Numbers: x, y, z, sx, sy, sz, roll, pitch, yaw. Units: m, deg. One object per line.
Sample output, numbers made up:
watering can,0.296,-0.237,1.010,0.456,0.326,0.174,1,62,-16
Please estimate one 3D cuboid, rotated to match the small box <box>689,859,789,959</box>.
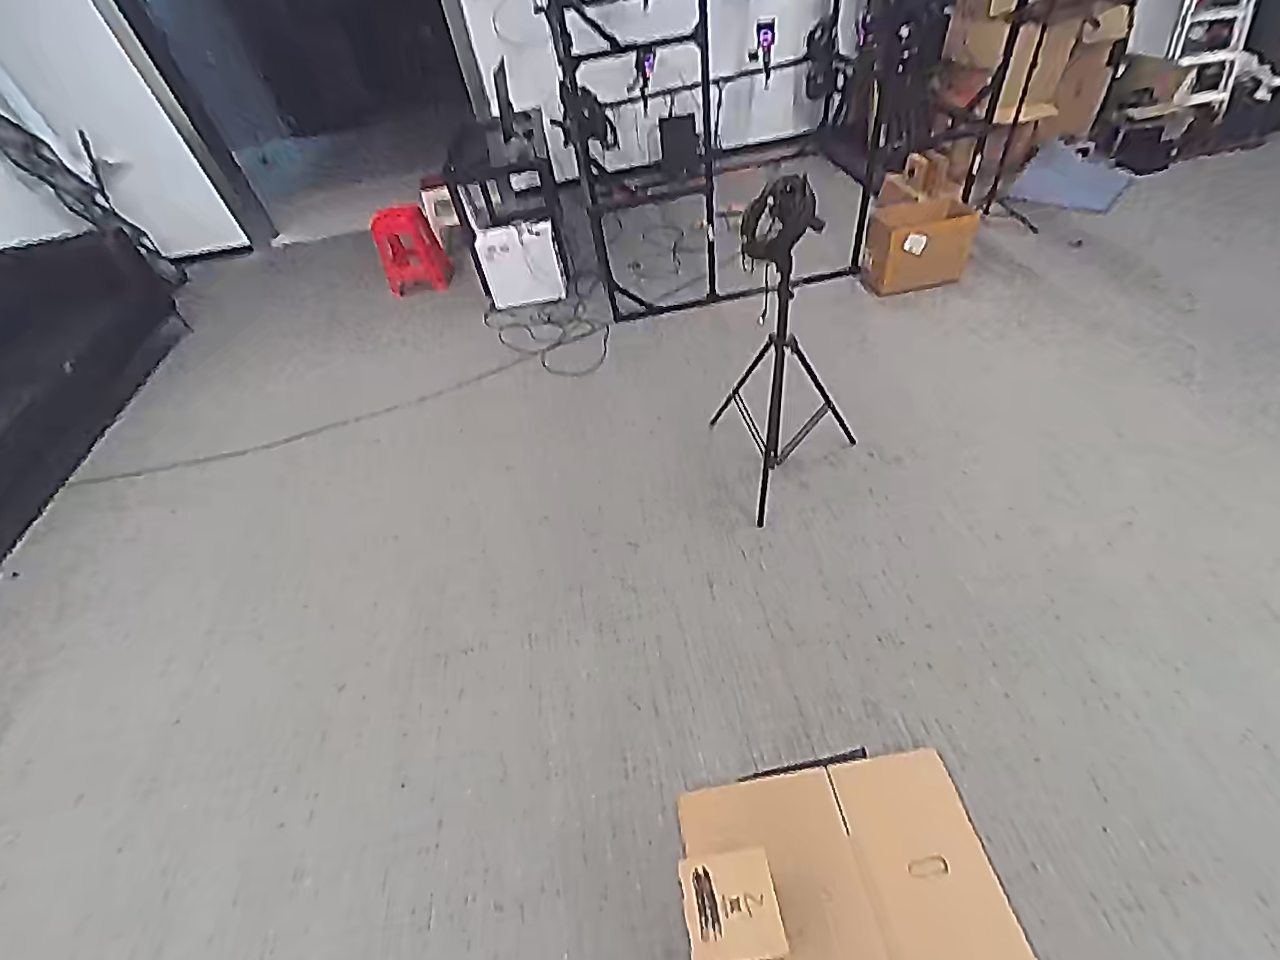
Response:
small box,0.212,0.953,1.183,0.179,0.176,0.168,-12,46,1
